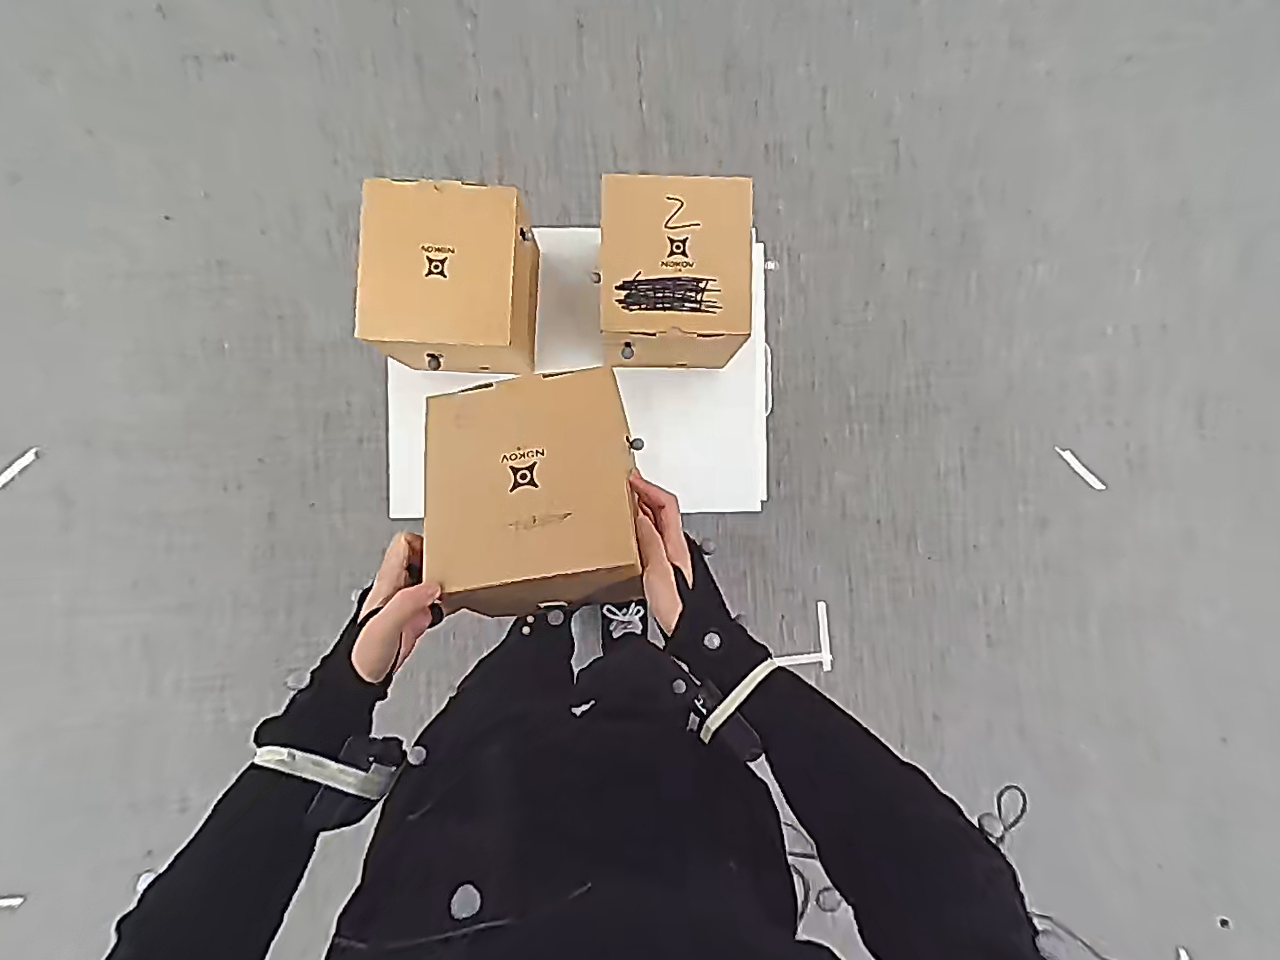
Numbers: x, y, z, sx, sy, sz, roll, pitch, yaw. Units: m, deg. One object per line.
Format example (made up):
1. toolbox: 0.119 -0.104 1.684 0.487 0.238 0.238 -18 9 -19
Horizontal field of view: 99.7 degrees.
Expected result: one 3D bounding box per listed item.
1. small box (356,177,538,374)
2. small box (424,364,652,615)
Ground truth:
1. small box: -0.218 -0.230 0.652 0.168 0.176 0.179 2 89 -3
2. small box: -0.083 0.020 0.505 0.168 0.176 0.179 -9 70 2
